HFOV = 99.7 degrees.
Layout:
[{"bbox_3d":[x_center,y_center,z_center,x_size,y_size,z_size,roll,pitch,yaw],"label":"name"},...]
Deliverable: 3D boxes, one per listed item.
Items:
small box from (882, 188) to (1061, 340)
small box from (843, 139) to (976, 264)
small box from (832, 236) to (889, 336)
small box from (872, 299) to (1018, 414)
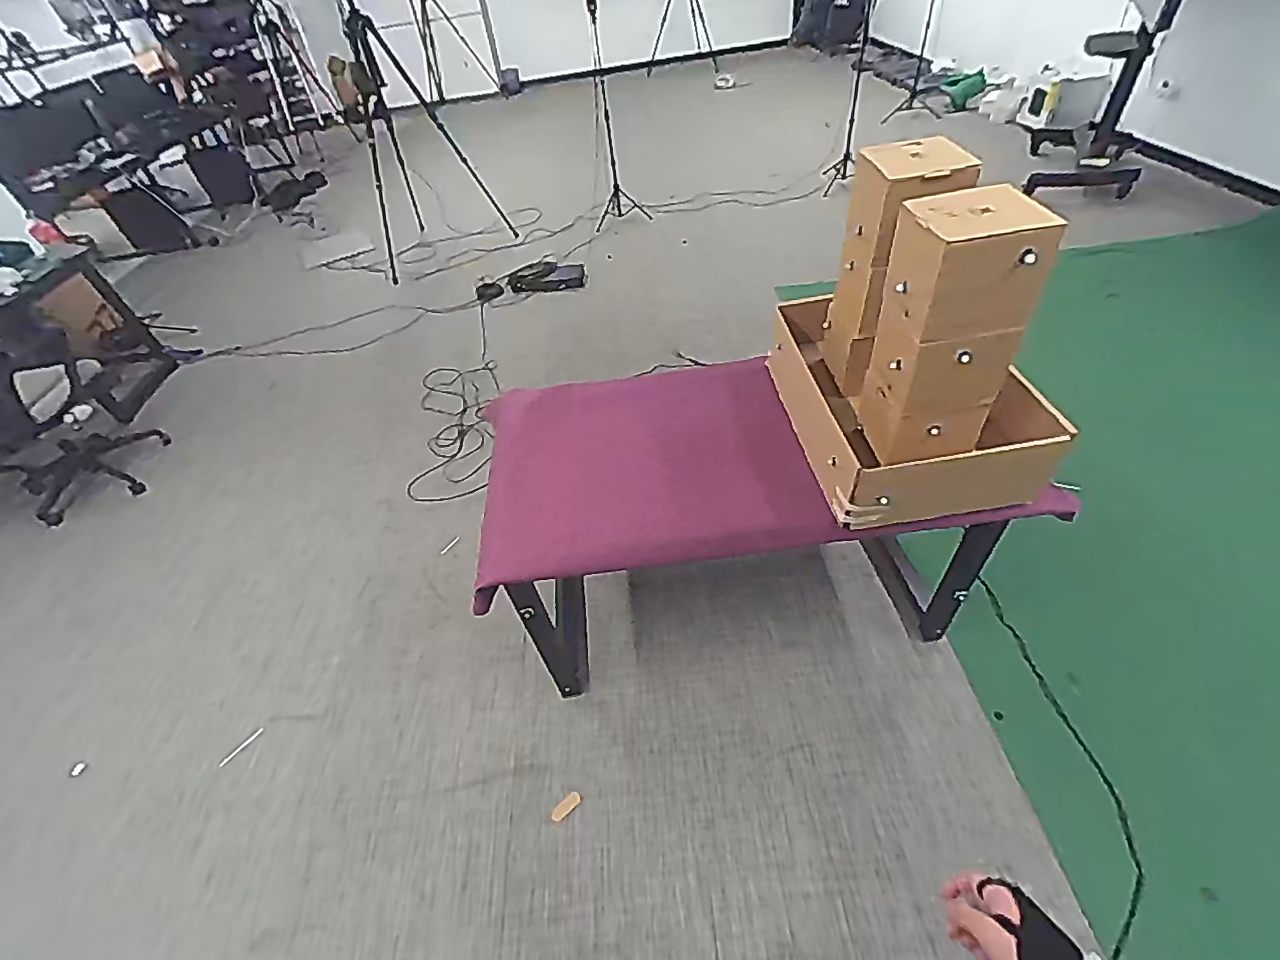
[{"bbox_3d":[0.527,-0.353,0.892,0.179,0.176,0.168,-8,46,3],"label":"small box"},{"bbox_3d":[0.520,-0.544,1.073,0.168,0.176,0.179,-7,48,2],"label":"small box"},{"bbox_3d":[0.539,-0.433,1.193,0.168,0.176,0.179,-7,47,3],"label":"small box"},{"bbox_3d":[0.549,-0.238,1.008,0.179,0.176,0.168,-7,47,3],"label":"small box"}]
